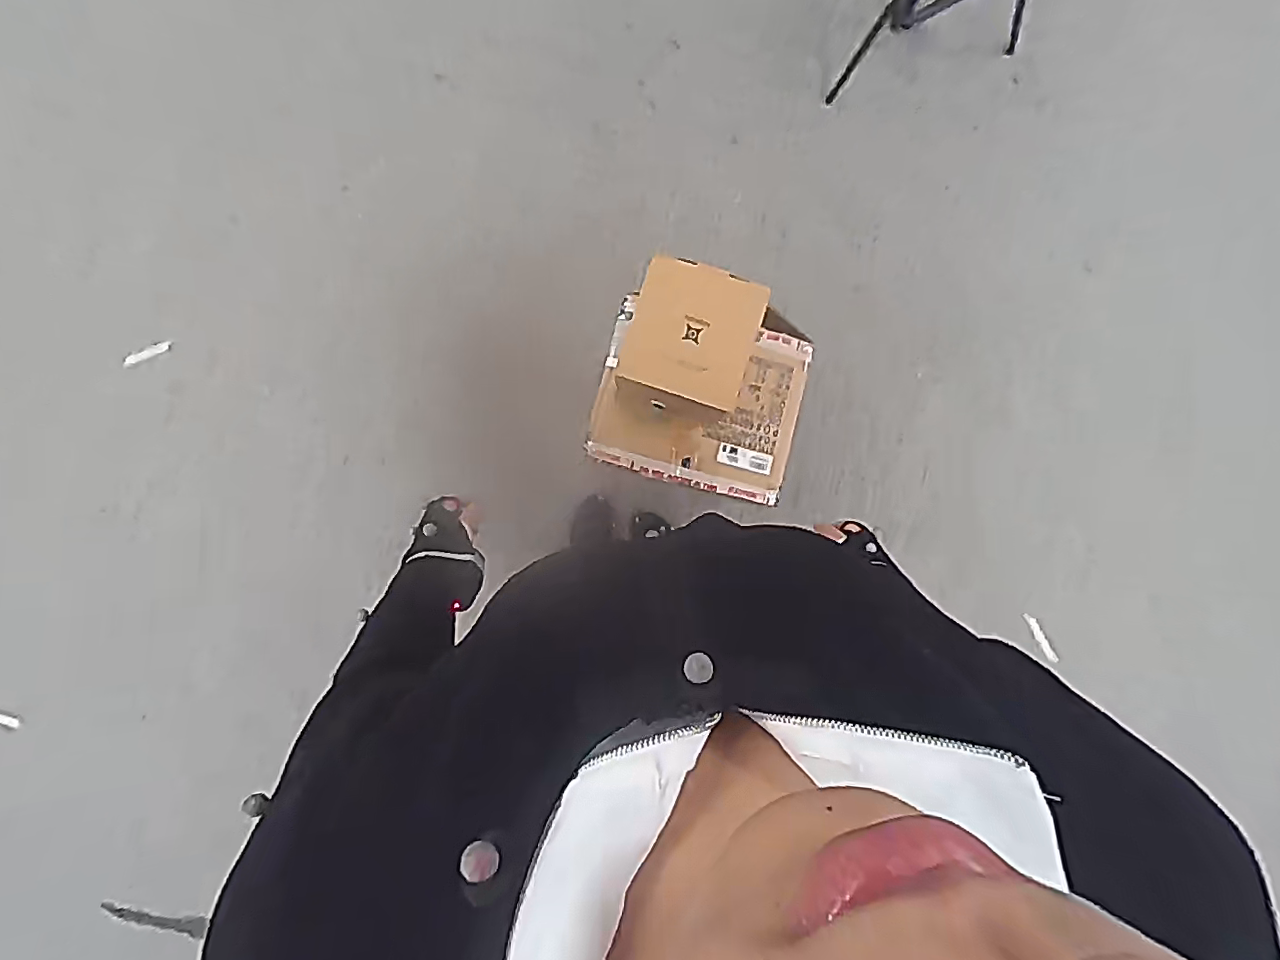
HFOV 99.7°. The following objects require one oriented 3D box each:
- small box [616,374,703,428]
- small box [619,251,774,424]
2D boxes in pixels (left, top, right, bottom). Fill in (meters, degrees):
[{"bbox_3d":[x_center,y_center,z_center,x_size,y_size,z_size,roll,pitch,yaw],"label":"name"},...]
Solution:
[{"bbox_3d":[0.065,-0.199,0.947,0.168,0.176,0.179,18,90,0],"label":"small box"},{"bbox_3d":[0.073,-0.192,0.784,0.168,0.176,0.179,18,90,0],"label":"small box"}]
